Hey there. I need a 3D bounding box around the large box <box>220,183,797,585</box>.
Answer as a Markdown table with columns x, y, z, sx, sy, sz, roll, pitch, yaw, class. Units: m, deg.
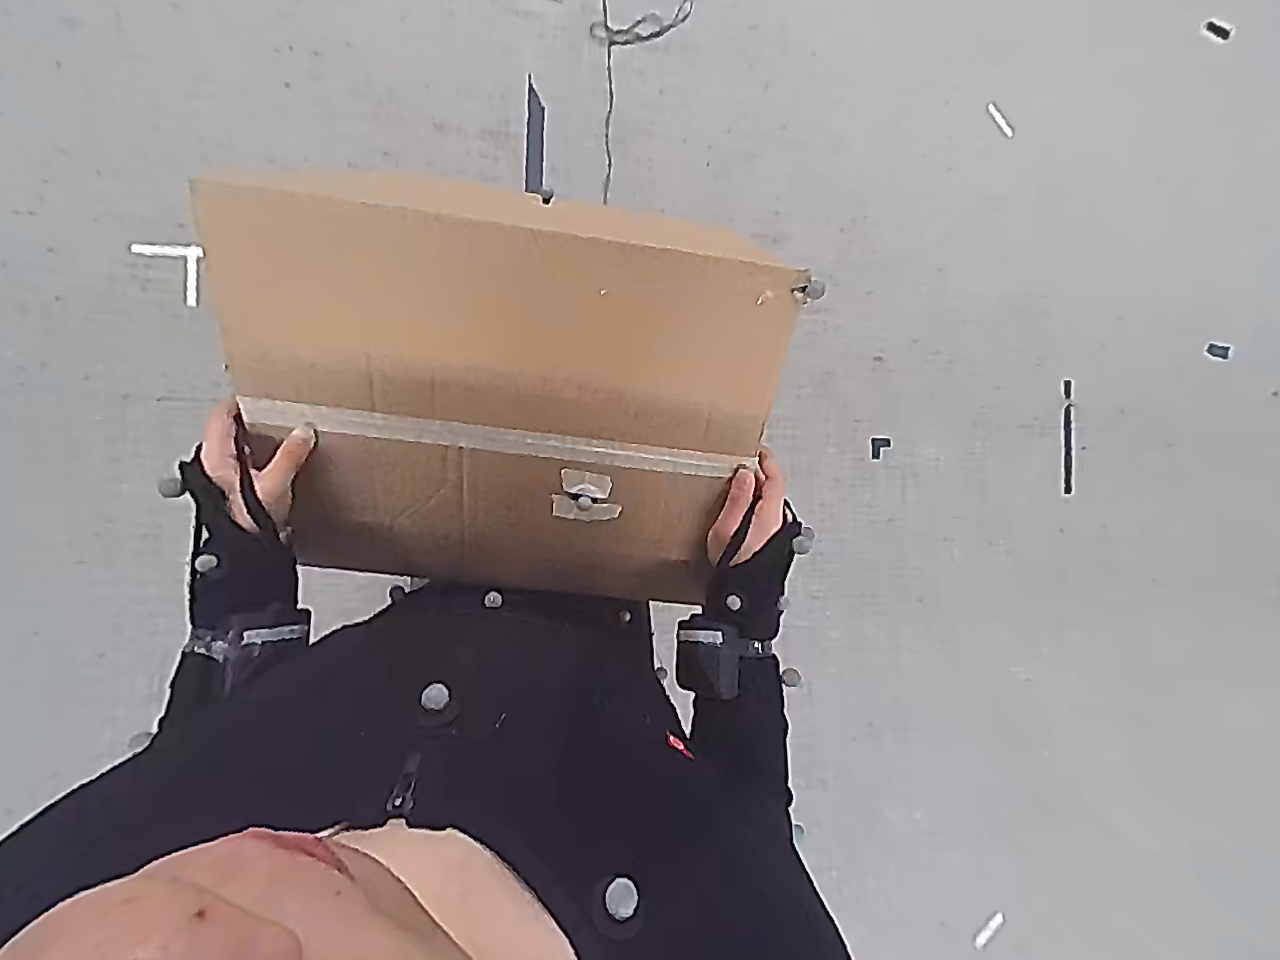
| x | y | z | sx | sy | sz | roll | pitch | yaw | class |
| --- | --- | --- | --- | --- | --- | --- | --- | --- | --- |
| -0.107 | -0.117 | 0.574 | 0.408 | 0.320 | 0.320 | 6 | 121 | -6 | large box |
